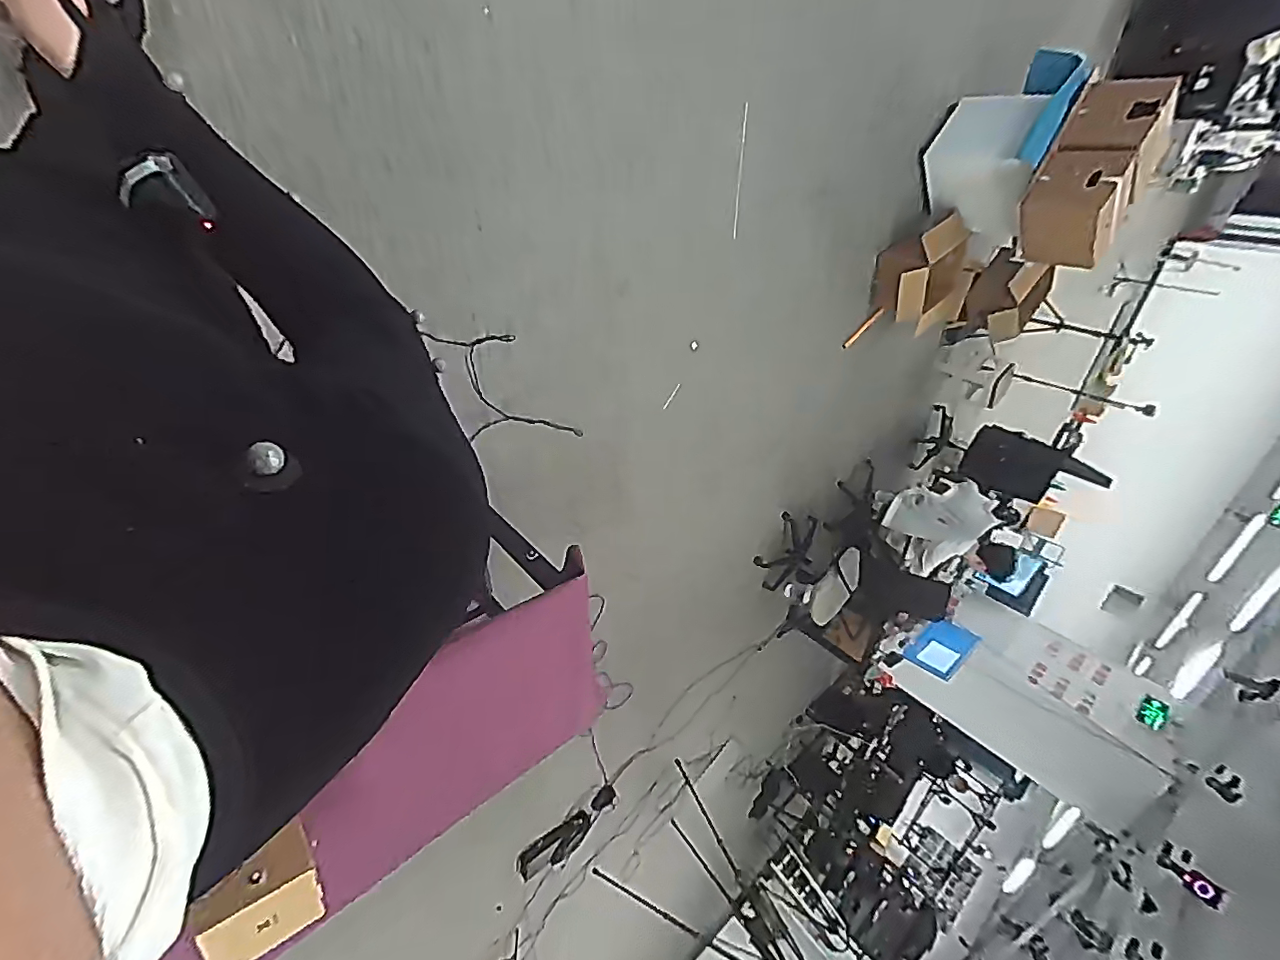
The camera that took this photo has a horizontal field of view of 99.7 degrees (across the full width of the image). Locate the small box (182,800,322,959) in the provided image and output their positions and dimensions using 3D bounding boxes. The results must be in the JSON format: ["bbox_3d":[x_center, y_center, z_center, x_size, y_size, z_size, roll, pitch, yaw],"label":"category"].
[{"bbox_3d":[-0.729,0.756,1.022,0.179,0.176,0.168,-15,126,-40],"label":"small box"}]
